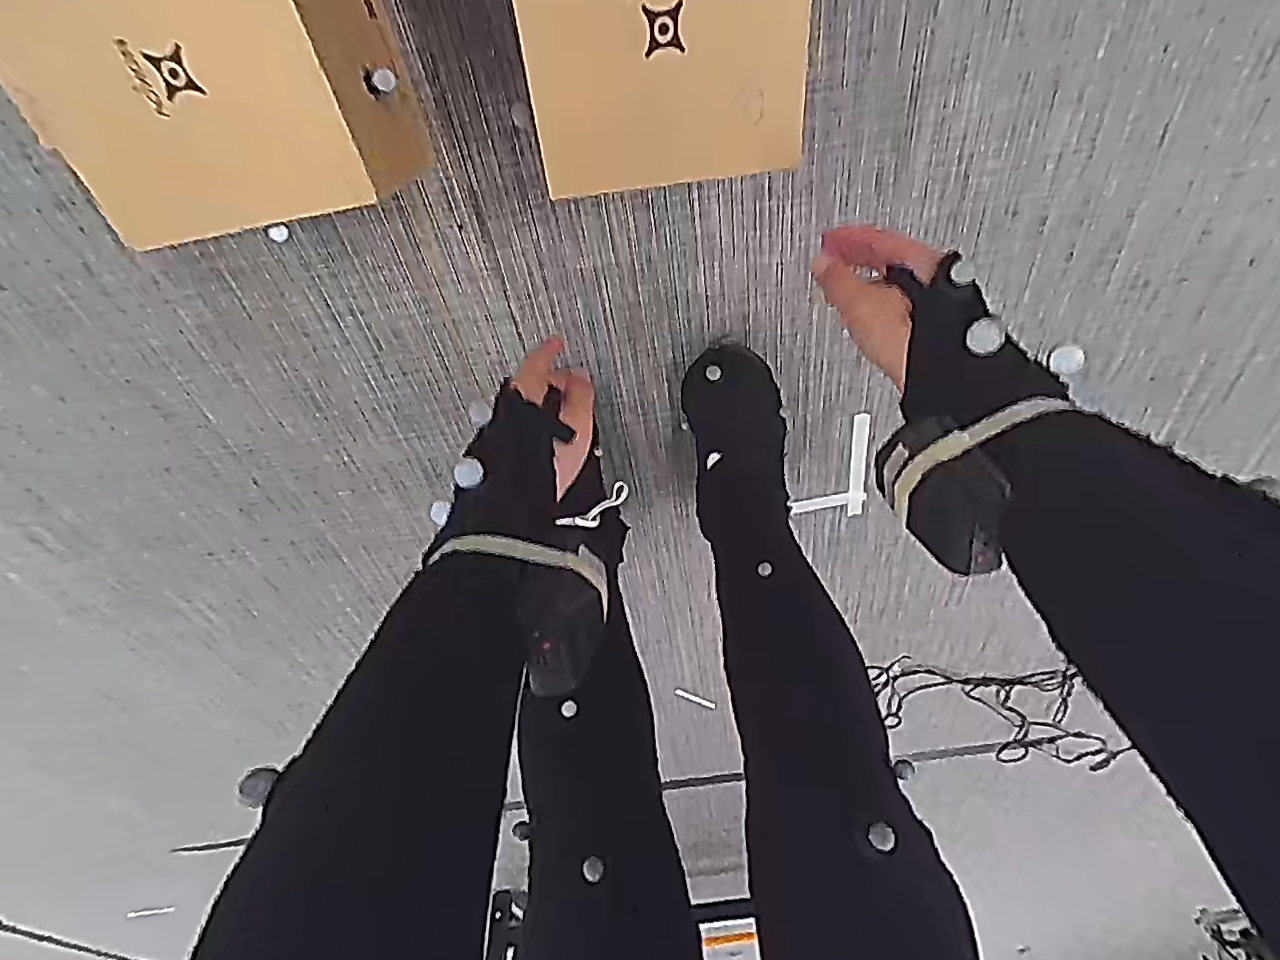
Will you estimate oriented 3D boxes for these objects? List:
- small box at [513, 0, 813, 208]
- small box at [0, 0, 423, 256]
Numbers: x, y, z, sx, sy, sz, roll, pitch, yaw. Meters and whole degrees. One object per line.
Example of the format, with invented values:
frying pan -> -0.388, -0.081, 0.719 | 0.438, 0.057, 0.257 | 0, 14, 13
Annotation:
small box -> 0.010, -0.304, 0.360 | 0.168, 0.176, 0.179 | -7, 129, 0
small box -> -0.266, -0.274, 0.364 | 0.179, 0.176, 0.168 | -9, 129, 4
